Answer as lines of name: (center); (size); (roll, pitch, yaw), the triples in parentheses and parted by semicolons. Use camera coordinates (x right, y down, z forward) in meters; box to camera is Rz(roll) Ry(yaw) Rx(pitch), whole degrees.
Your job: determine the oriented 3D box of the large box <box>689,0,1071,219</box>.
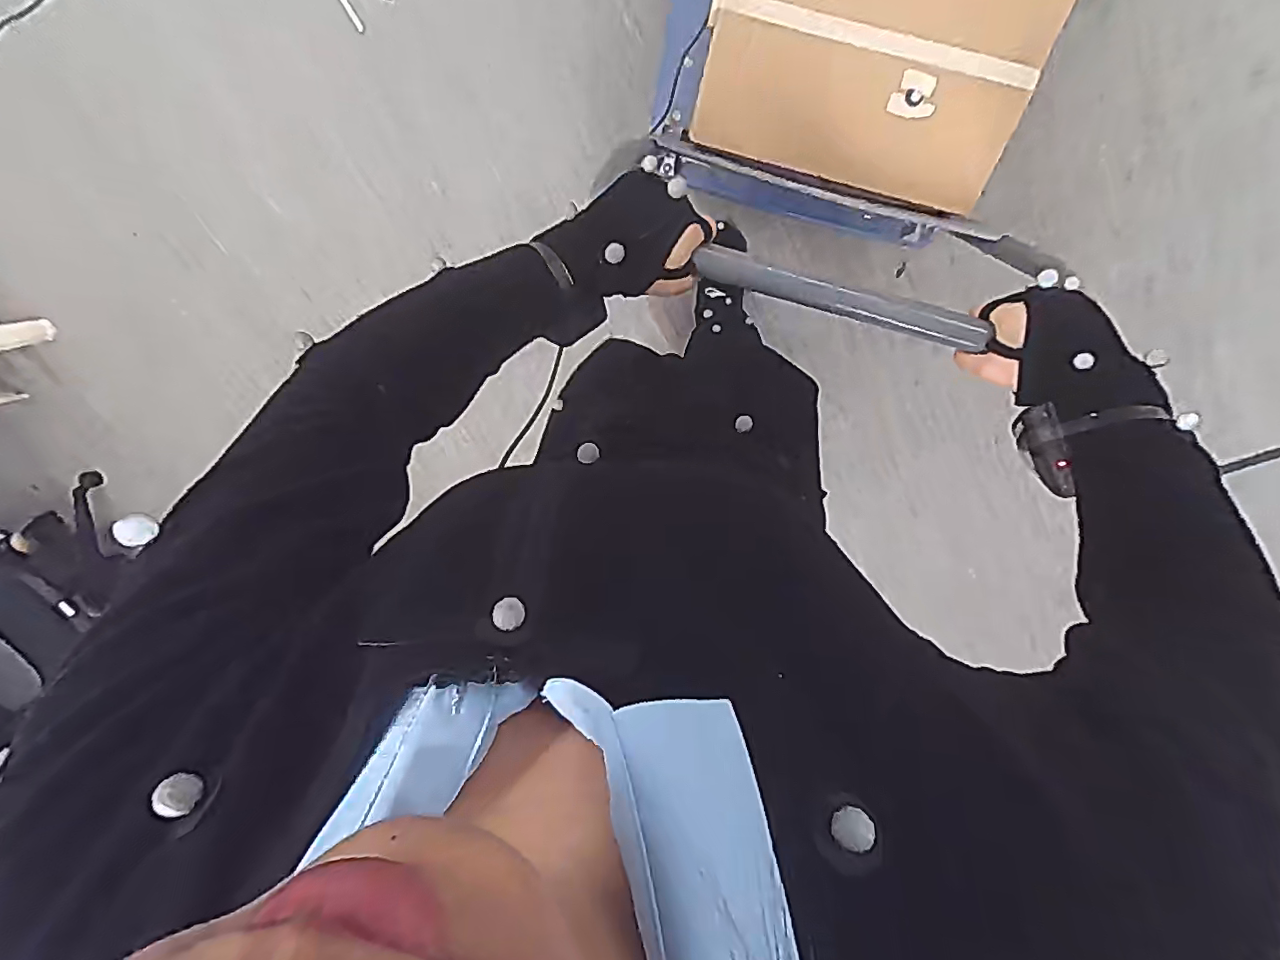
large box: (0.305, -0.606, 0.795); (0.408, 0.320, 0.320); (15, 121, -1)
